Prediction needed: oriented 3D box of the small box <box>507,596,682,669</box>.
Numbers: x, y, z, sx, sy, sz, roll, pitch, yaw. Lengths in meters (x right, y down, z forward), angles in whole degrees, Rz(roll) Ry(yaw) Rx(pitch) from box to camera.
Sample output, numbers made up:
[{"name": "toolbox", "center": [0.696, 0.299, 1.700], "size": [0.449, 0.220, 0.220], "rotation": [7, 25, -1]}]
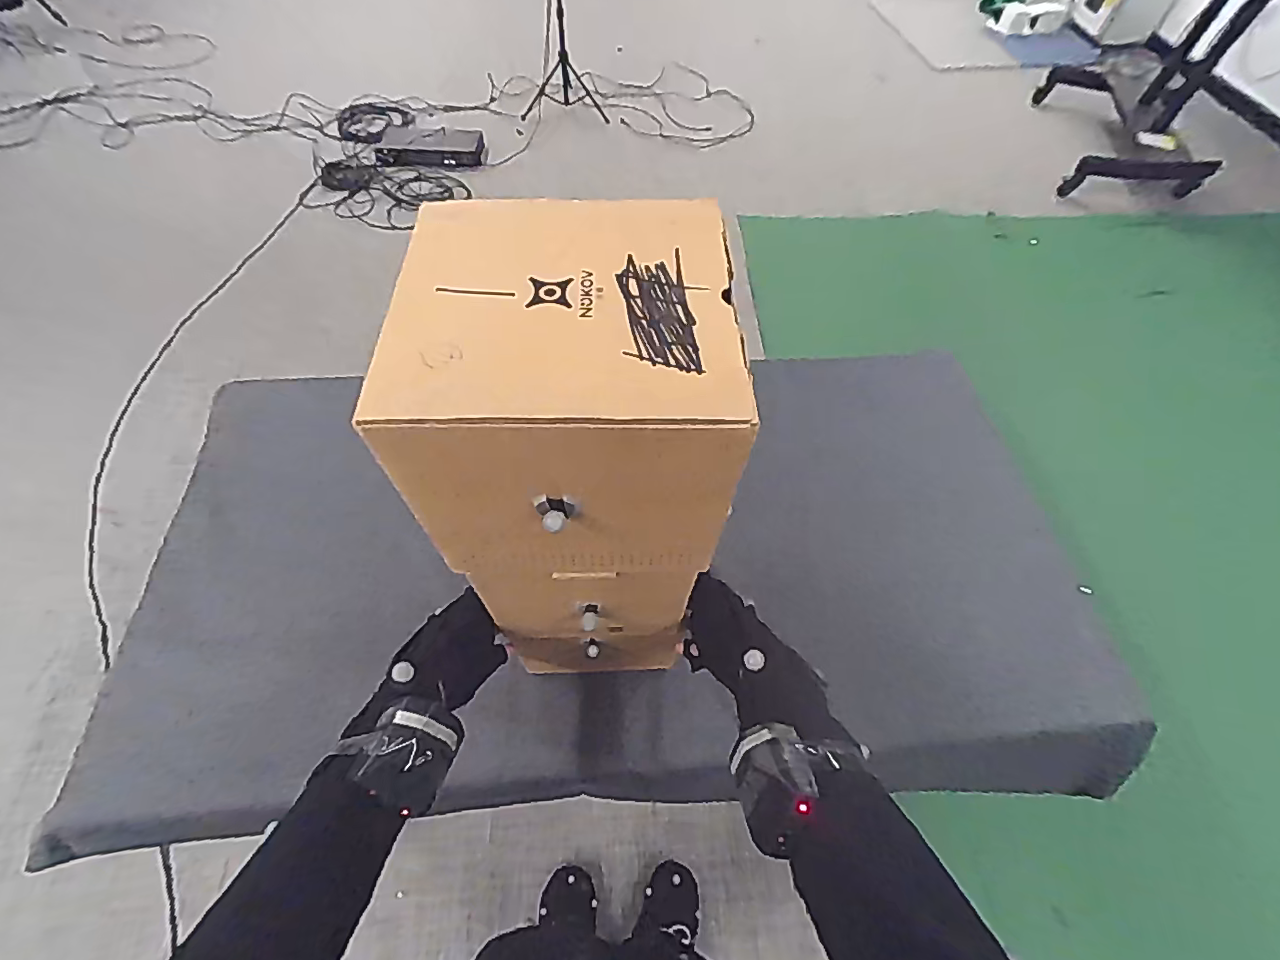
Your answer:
[{"name": "small box", "center": [-0.051, 0.120, 0.639], "size": [0.179, 0.176, 0.168], "rotation": [-1, 58, -4]}]

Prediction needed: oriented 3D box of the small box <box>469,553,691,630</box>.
[{"name": "small box", "center": [-0.048, 0.035, 0.500], "size": [0.168, 0.176, 0.179], "rotation": [-1, 58, -4]}]

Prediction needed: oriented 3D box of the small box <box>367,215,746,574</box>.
[{"name": "small box", "center": [-0.041, -0.045, 0.355], "size": [0.179, 0.176, 0.168], "rotation": [0, 57, -2]}]
